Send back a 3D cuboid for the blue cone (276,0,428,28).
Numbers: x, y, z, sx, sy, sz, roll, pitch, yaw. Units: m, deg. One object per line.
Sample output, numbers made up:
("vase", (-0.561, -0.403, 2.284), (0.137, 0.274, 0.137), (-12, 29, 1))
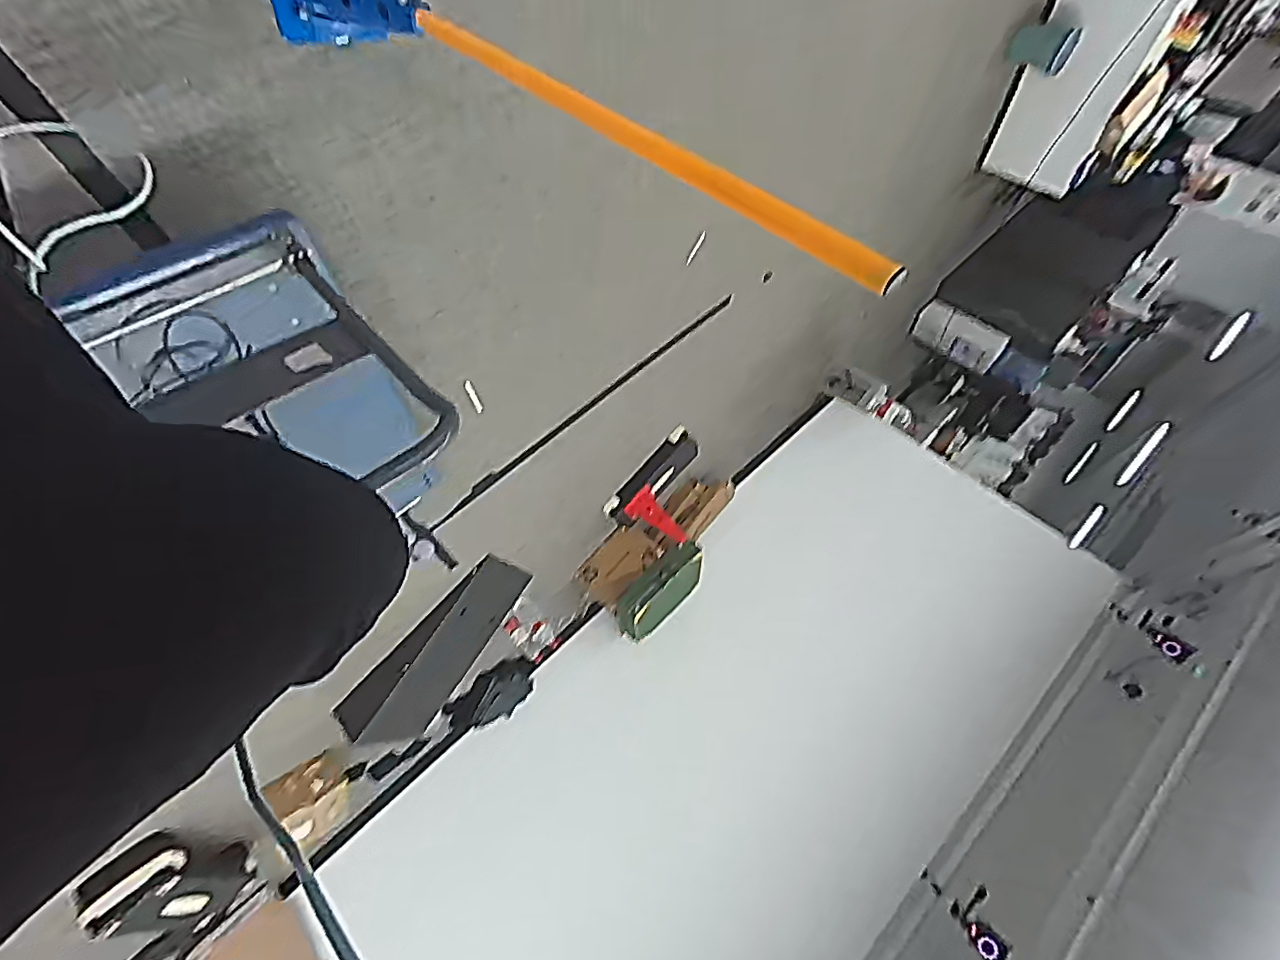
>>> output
("blue cone", (-0.444, -0.808, 0.862), (0.193, 0.380, 0.192), (-32, 150, -31))
